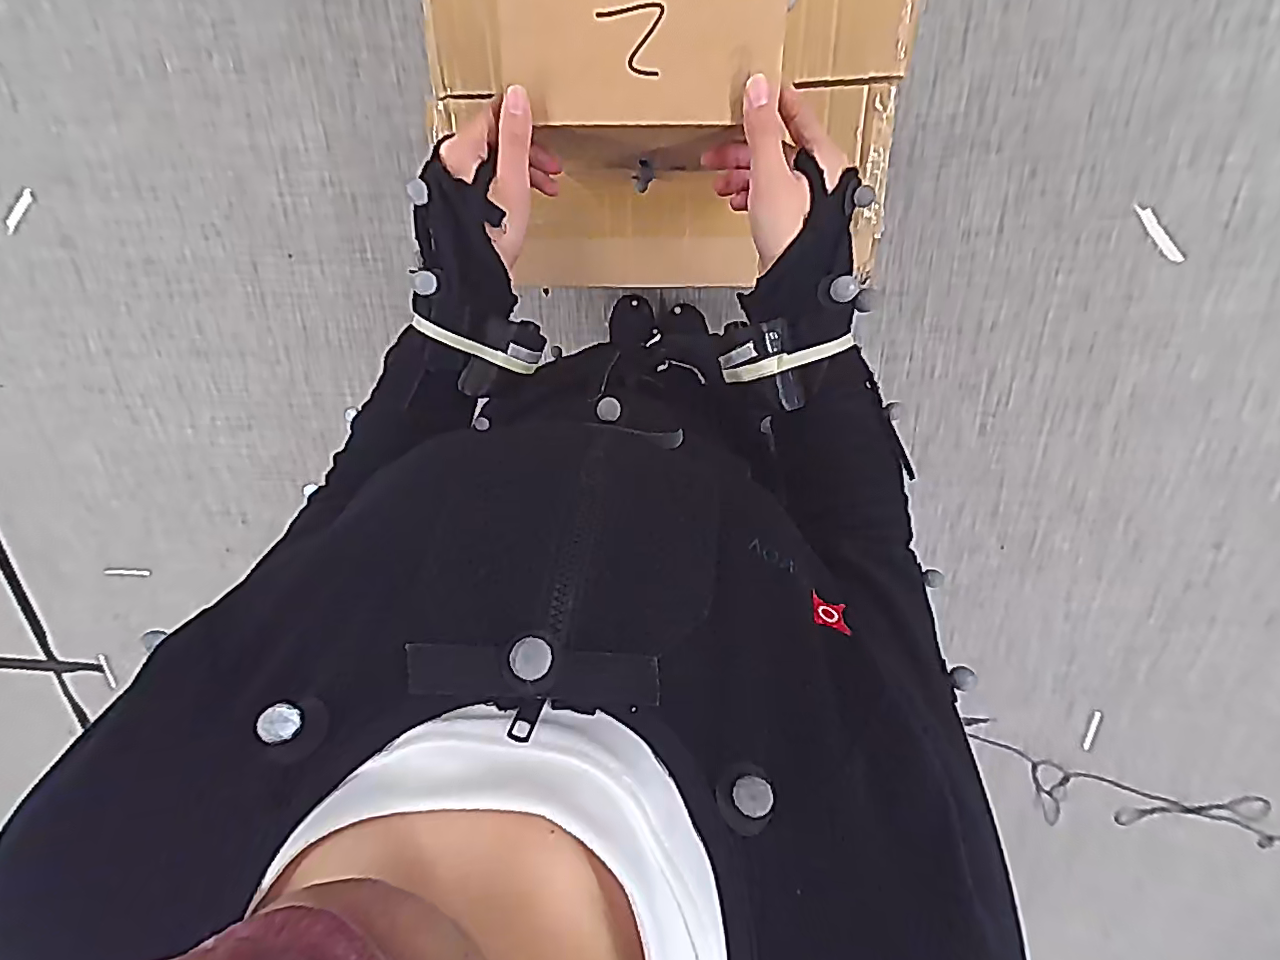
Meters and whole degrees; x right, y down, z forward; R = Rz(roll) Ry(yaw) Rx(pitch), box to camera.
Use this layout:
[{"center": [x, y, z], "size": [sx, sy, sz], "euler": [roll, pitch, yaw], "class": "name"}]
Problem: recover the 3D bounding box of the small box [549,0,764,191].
[{"center": [0.019, -0.382, 0.521], "size": [0.179, 0.176, 0.168], "euler": [3, 111, 4], "class": "small box"}]
